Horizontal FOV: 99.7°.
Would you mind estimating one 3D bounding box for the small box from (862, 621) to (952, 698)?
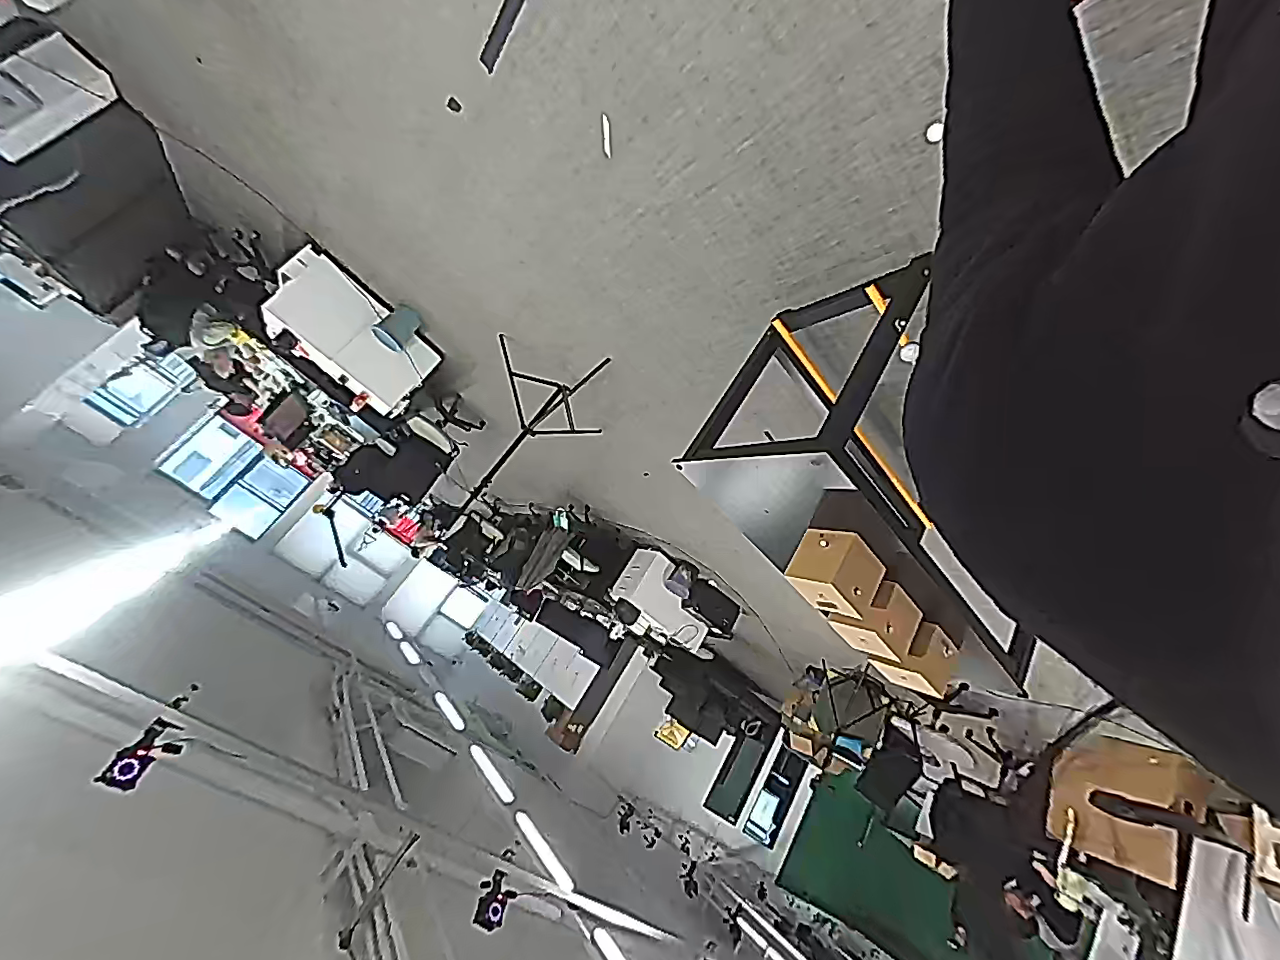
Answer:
[{"bbox_3d":[0.839,0.546,1.694,0.168,0.176,0.179,42,158,-24],"label":"small box"}]

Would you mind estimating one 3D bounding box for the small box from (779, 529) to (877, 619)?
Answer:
[{"bbox_3d":[0.529,0.258,1.510,0.179,0.176,0.168,44,157,-25],"label":"small box"}]

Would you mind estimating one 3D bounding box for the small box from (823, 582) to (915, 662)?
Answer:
[{"bbox_3d":[0.685,0.410,1.615,0.179,0.176,0.168,44,158,-25],"label":"small box"}]
